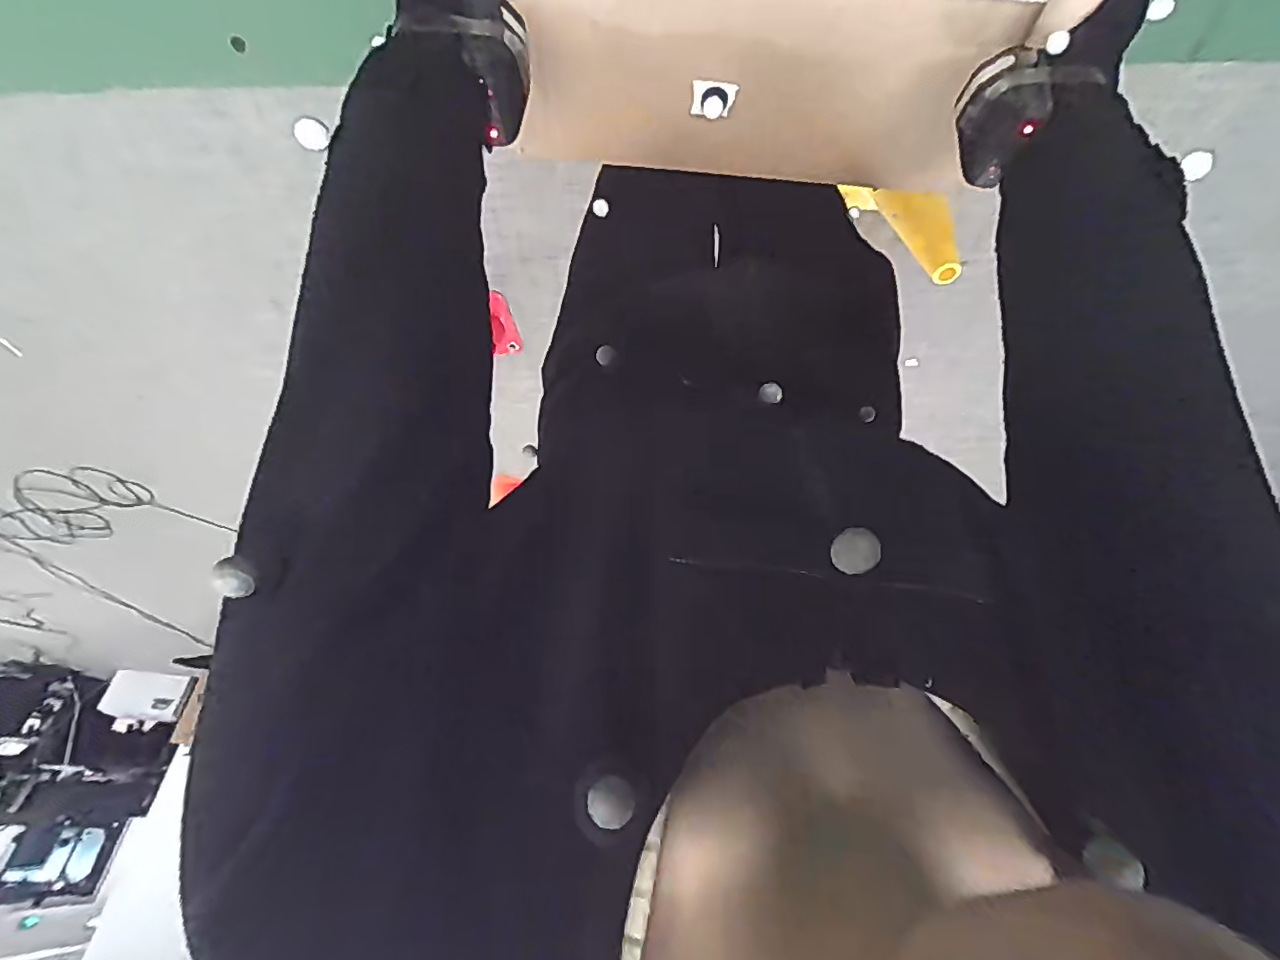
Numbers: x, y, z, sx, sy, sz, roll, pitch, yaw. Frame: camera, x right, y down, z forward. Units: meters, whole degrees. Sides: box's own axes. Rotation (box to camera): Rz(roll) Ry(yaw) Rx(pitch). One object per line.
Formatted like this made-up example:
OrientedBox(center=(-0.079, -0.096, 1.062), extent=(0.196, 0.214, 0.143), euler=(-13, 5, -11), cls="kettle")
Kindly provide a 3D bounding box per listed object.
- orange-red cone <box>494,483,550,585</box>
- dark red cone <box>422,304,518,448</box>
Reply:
OrientedBox(center=(-0.471, 0.217, 2.000), extent=(0.199, 0.360, 0.198), euler=(13, 143, -13), cls="orange-red cone")
OrientedBox(center=(-0.442, -0.235, 1.298), extent=(0.202, 0.394, 0.201), euler=(-3, 142, 9), cls="dark red cone")
